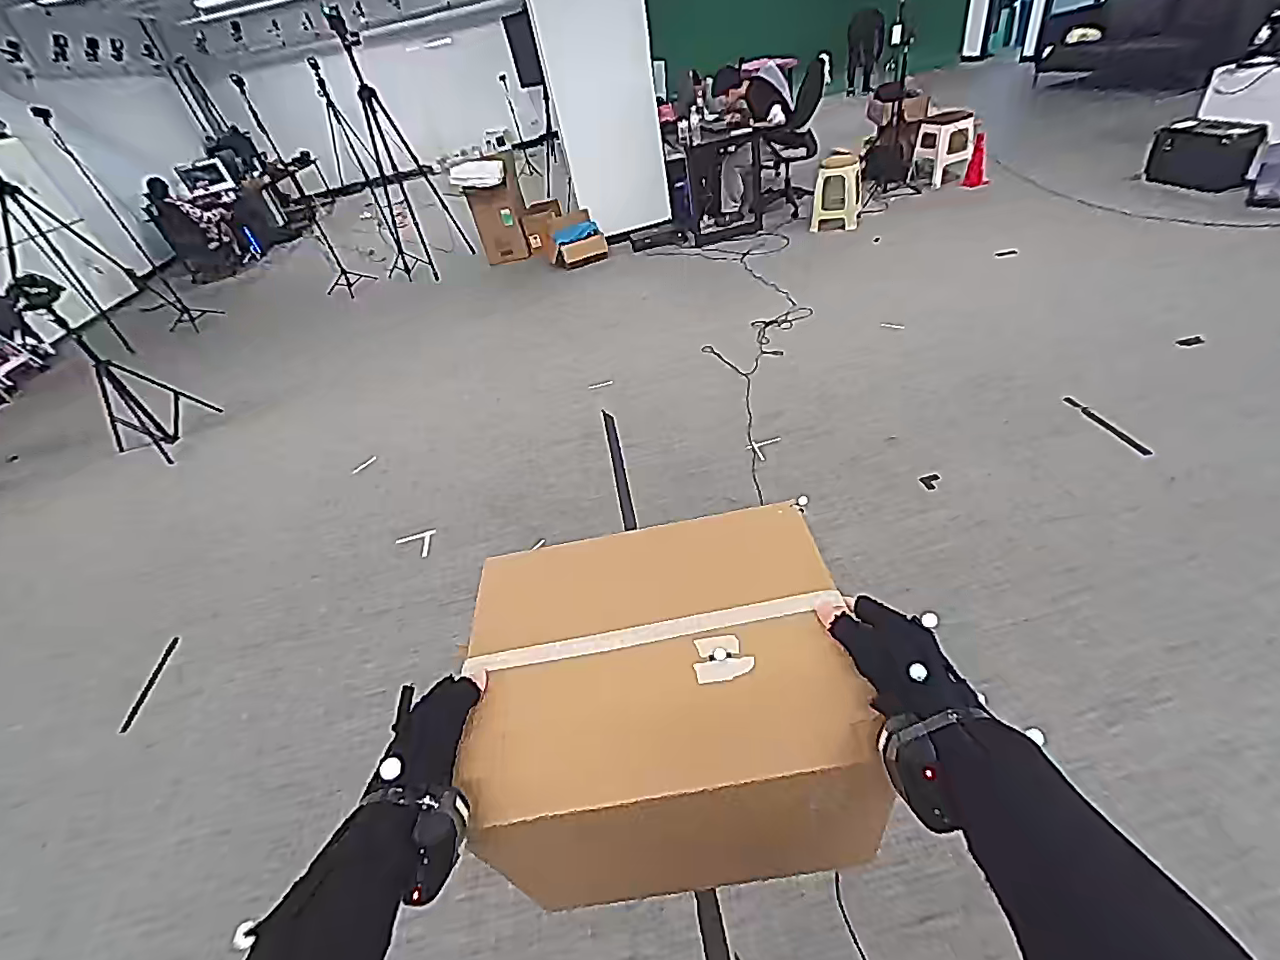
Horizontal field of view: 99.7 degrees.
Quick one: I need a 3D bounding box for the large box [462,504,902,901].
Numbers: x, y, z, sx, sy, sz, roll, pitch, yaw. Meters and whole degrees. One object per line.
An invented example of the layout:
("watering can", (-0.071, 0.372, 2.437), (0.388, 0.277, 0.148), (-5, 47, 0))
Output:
("large box", (0.043, 0.276, 0.679), (0.408, 0.320, 0.320), (-10, 41, 2))
